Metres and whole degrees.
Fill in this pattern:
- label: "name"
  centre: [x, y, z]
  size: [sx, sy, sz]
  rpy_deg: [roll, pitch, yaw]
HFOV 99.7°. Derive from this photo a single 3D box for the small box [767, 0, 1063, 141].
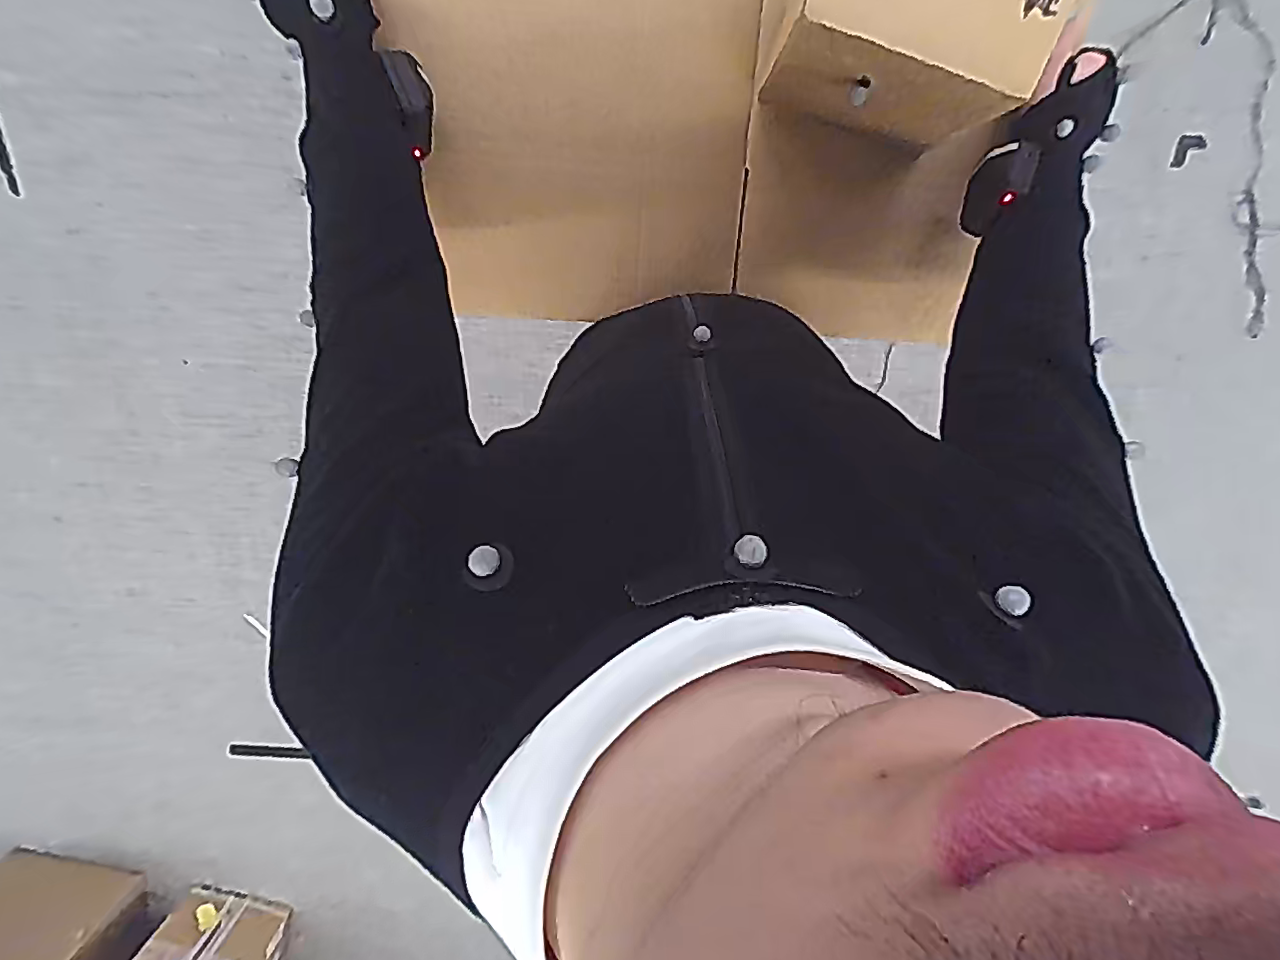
- label: "small box"
  centre: [0.217, -0.399, 0.430]
  size: [0.179, 0.176, 0.168]
  rpy_deg: [17, 110, -3]
